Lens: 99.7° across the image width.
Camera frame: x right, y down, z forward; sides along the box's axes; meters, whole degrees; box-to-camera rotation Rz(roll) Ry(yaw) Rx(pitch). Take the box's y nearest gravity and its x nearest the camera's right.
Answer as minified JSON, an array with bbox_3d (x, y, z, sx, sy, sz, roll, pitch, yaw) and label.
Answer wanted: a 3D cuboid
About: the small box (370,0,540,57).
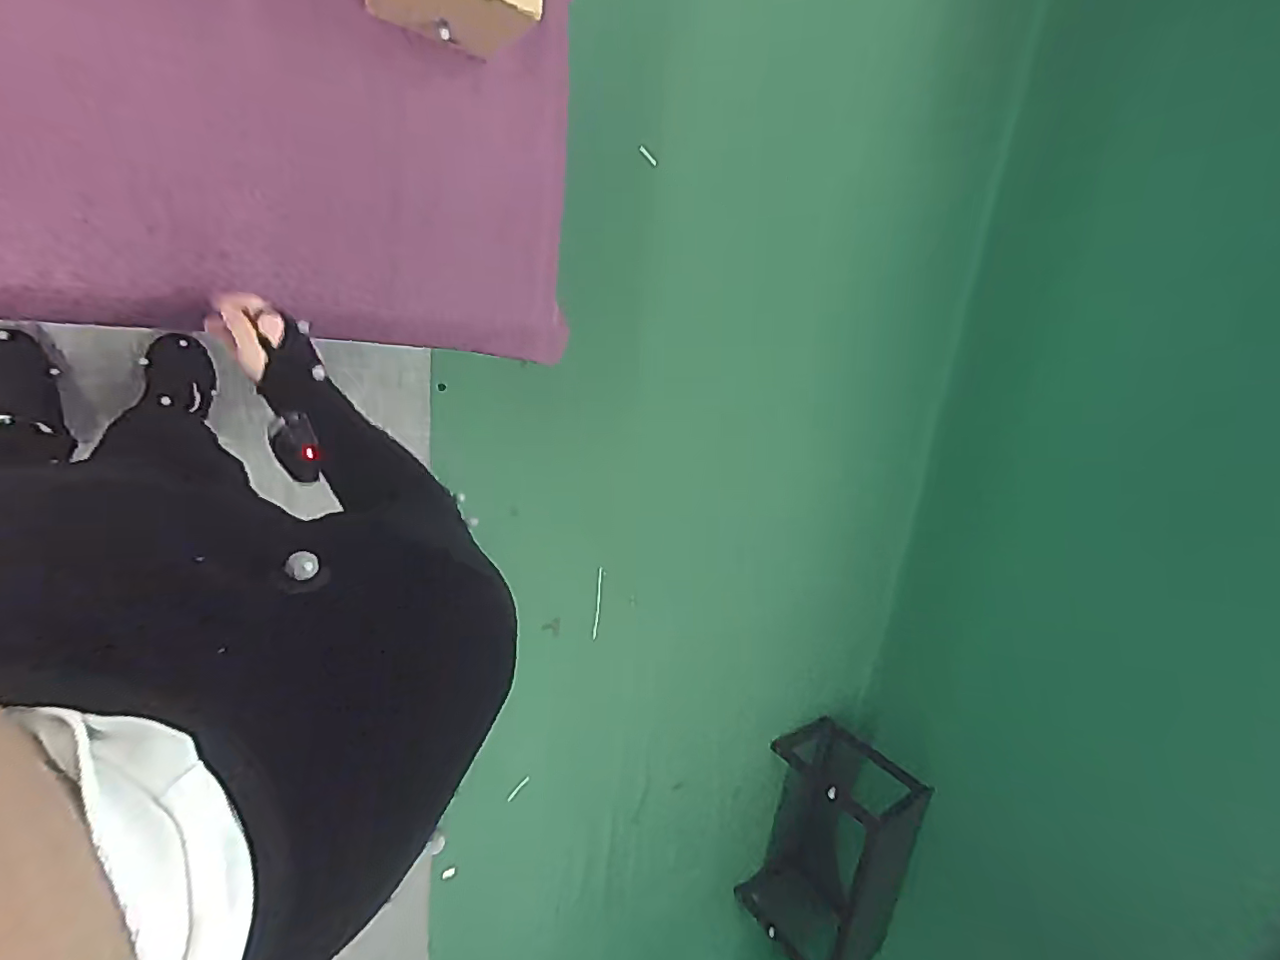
[{"bbox_3d":[-0.222,-0.650,0.635,0.168,0.176,0.179,-4,109,-35],"label":"small box"}]
